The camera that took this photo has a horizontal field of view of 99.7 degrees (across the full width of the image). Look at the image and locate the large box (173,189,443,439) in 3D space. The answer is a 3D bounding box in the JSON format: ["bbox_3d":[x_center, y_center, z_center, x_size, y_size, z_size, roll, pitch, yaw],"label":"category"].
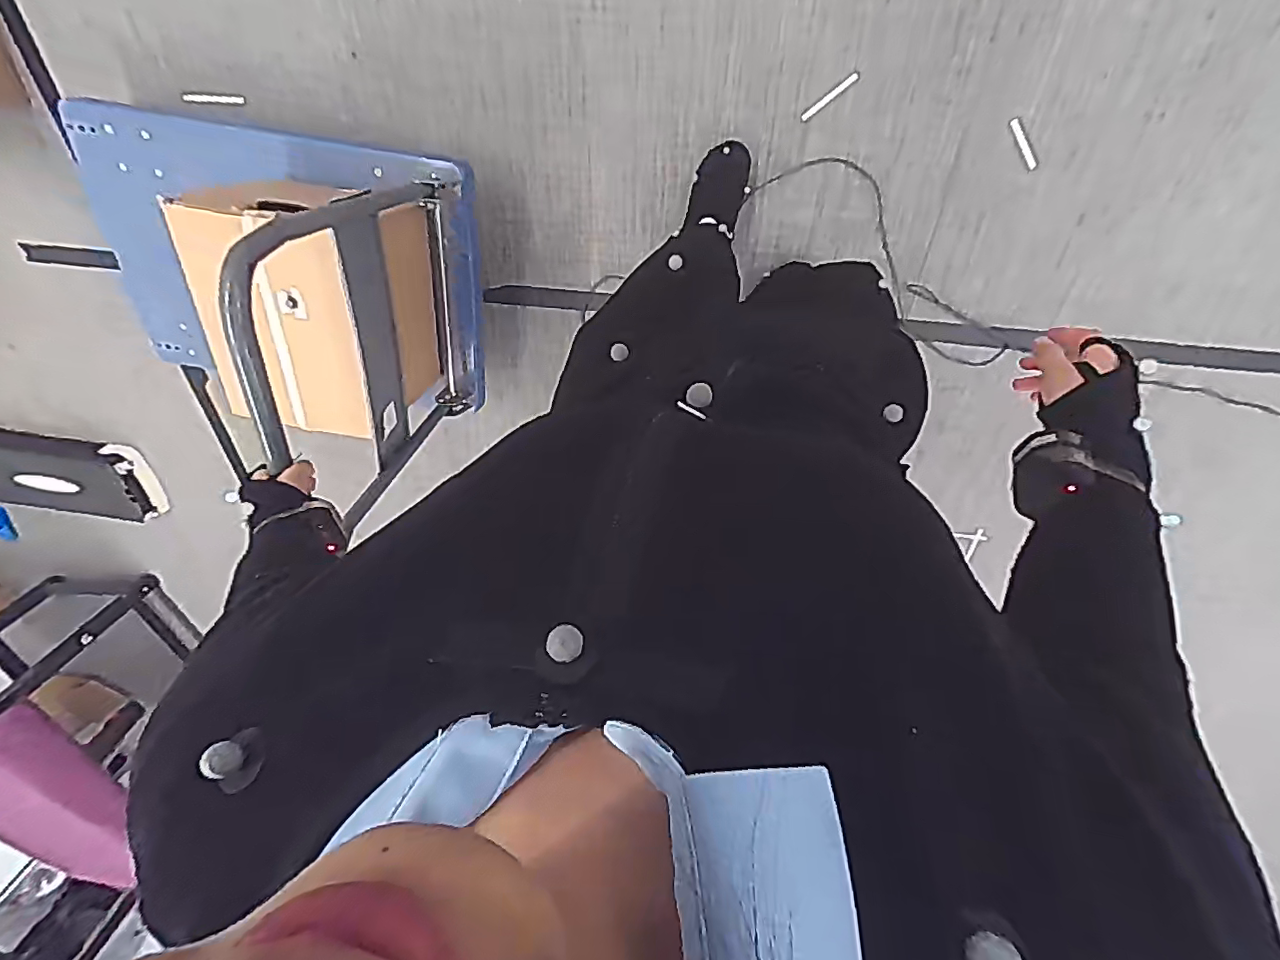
[{"bbox_3d":[-0.635,-0.350,1.128,0.320,0.320,0.408,10,124,1],"label":"large box"}]
